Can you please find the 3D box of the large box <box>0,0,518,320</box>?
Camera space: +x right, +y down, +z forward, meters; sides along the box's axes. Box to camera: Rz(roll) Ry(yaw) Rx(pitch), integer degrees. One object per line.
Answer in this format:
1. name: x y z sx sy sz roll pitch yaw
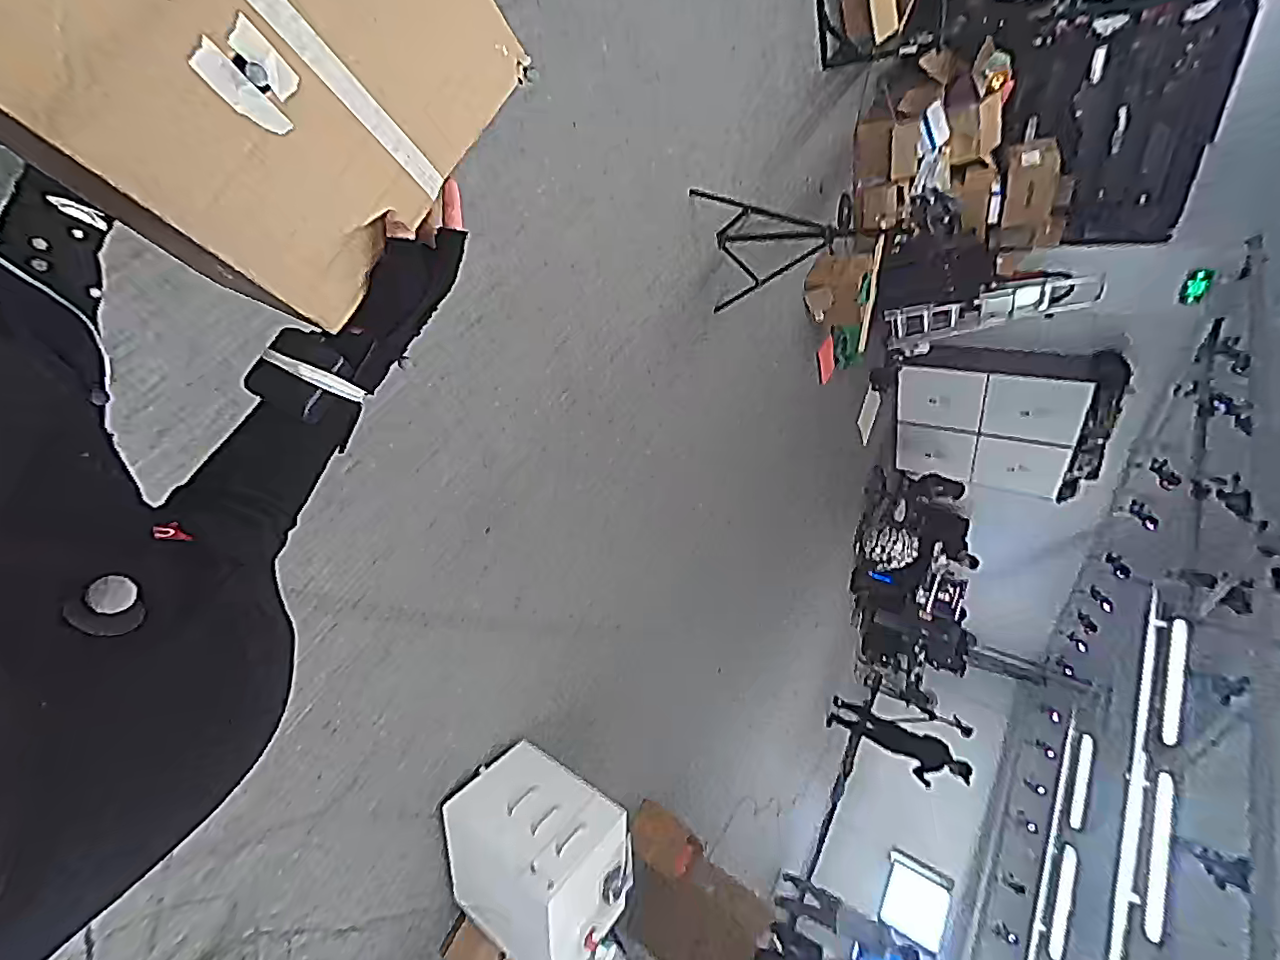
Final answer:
1. large box: -0.387 -0.391 0.413 0.320 0.320 0.408 -59 145 -8
